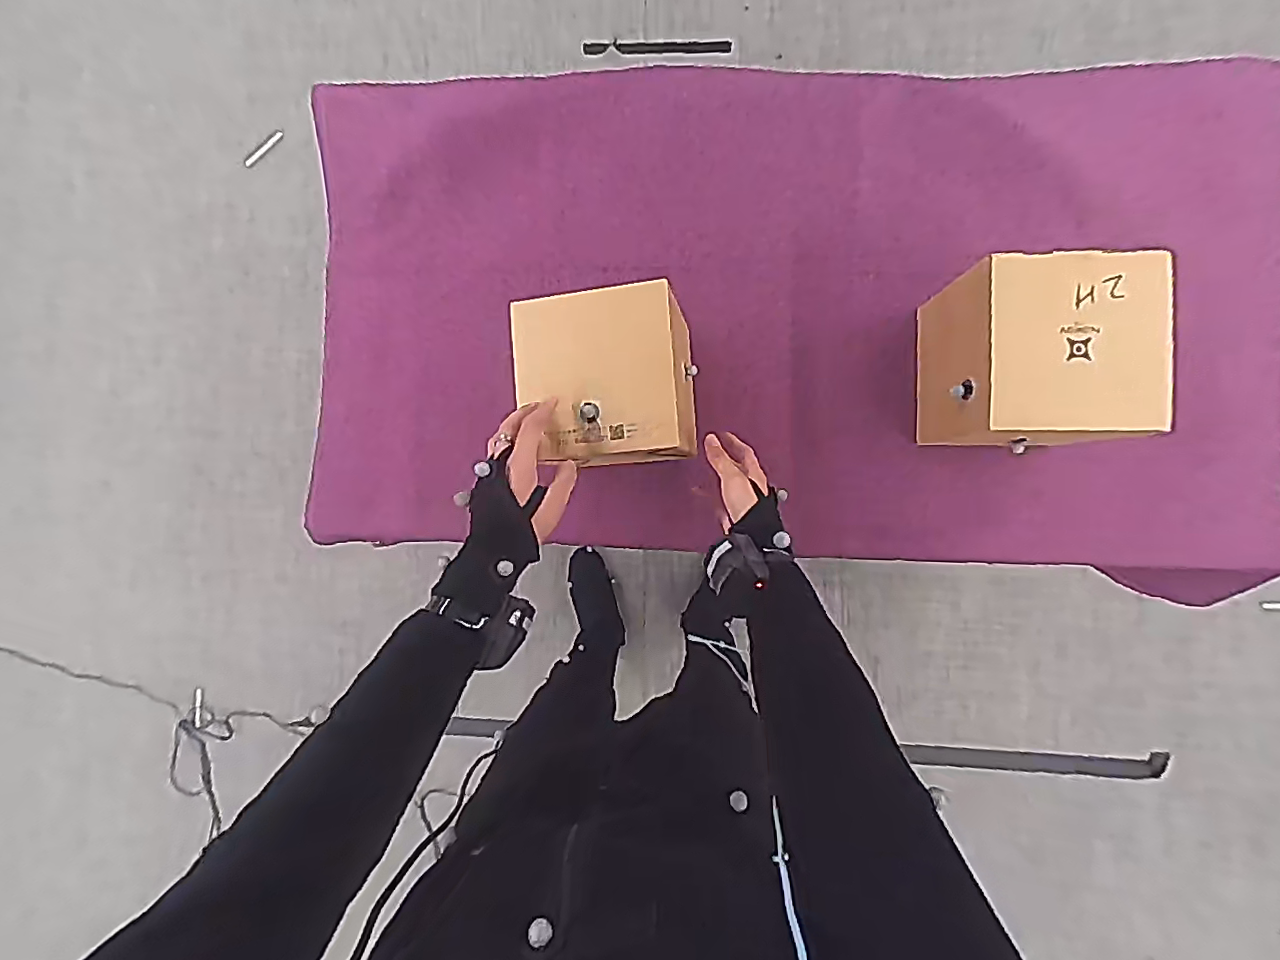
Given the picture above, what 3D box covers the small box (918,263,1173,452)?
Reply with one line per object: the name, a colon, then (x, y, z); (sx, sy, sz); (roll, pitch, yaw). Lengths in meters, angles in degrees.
small box: (0.429, -0.122, 0.601); (0.168, 0.176, 0.179); (1, 89, 4)
